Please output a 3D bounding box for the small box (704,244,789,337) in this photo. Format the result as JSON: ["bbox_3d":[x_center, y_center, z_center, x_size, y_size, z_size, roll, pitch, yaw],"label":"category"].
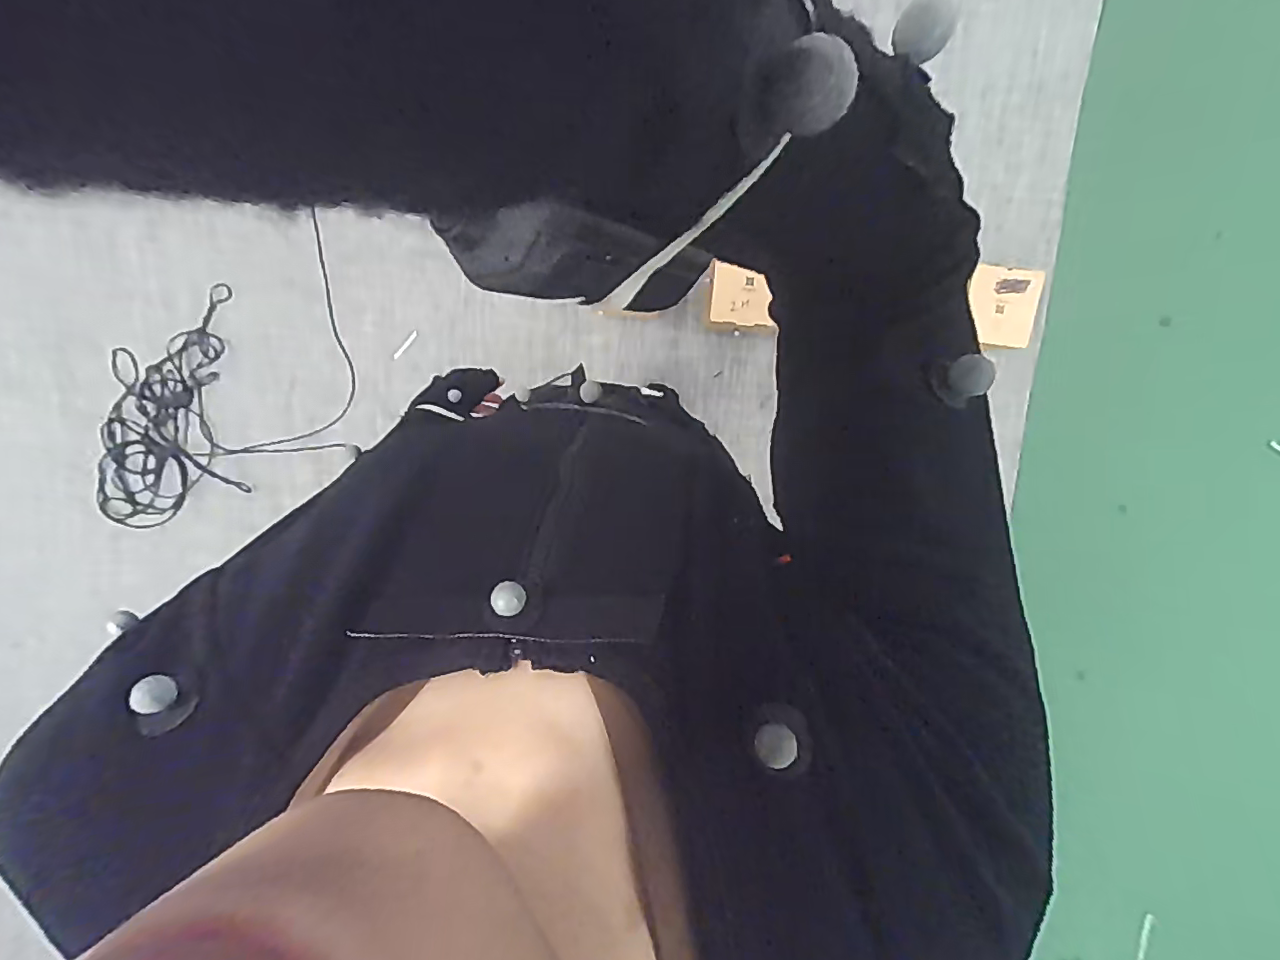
[{"bbox_3d":[0.251,-0.455,1.317,0.168,0.176,0.179,5,99,1],"label":"small box"}]

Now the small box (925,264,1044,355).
[{"bbox_3d":[0.831,-0.410,1.323,0.168,0.176,0.179,8,100,-1],"label":"small box"}]
